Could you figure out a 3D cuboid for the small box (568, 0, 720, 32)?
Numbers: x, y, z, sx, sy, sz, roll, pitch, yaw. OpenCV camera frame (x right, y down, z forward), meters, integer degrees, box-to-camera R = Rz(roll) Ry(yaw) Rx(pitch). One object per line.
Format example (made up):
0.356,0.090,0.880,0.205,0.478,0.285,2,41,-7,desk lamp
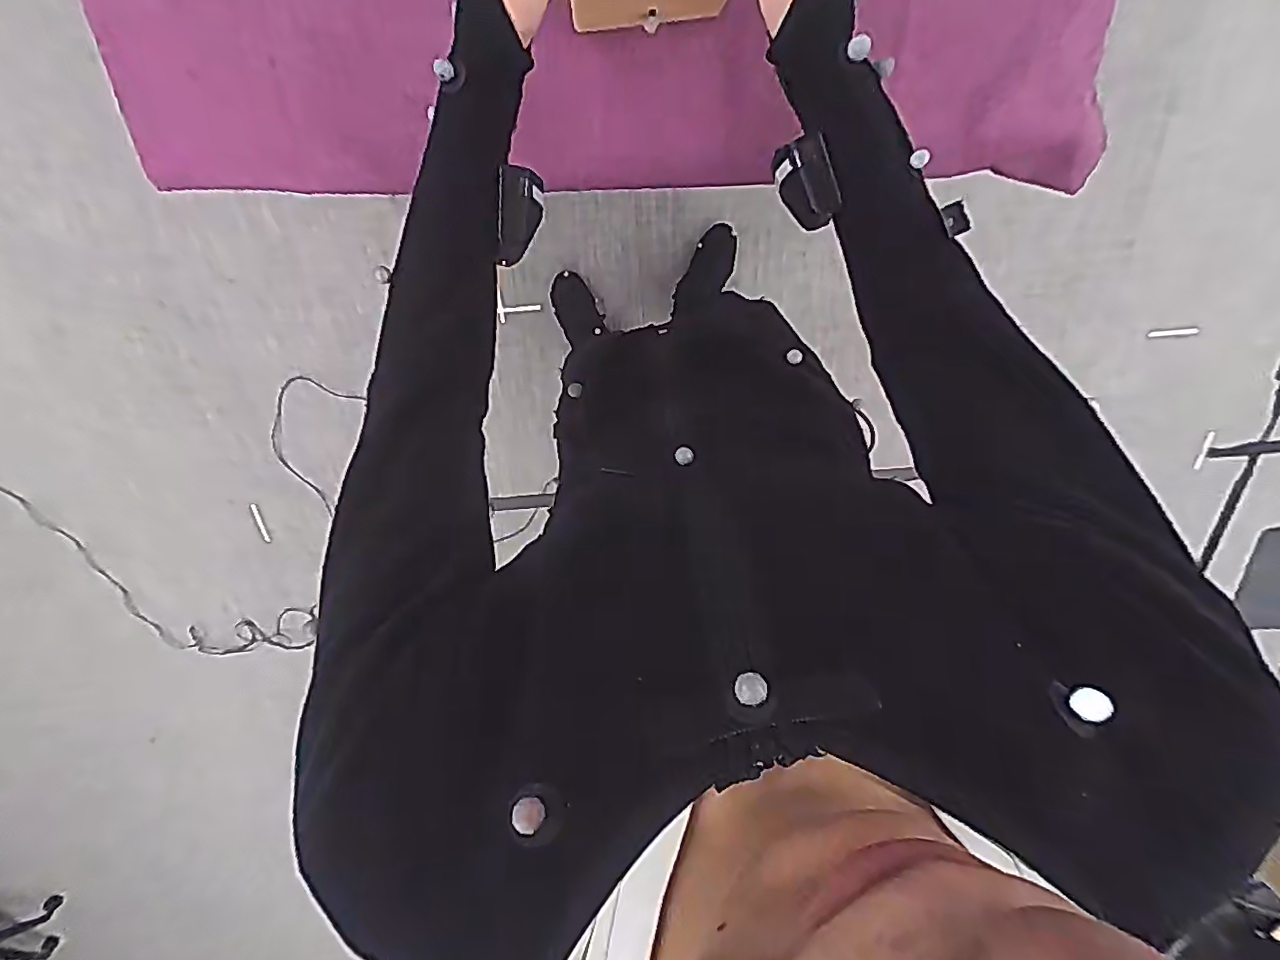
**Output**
0.006,-0.582,0.541,0.179,0.176,0.168,-8,115,-1,small box

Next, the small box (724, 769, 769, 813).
0.472,1.422,2.401,0.168,0.176,0.179,-9,117,-1,small box
